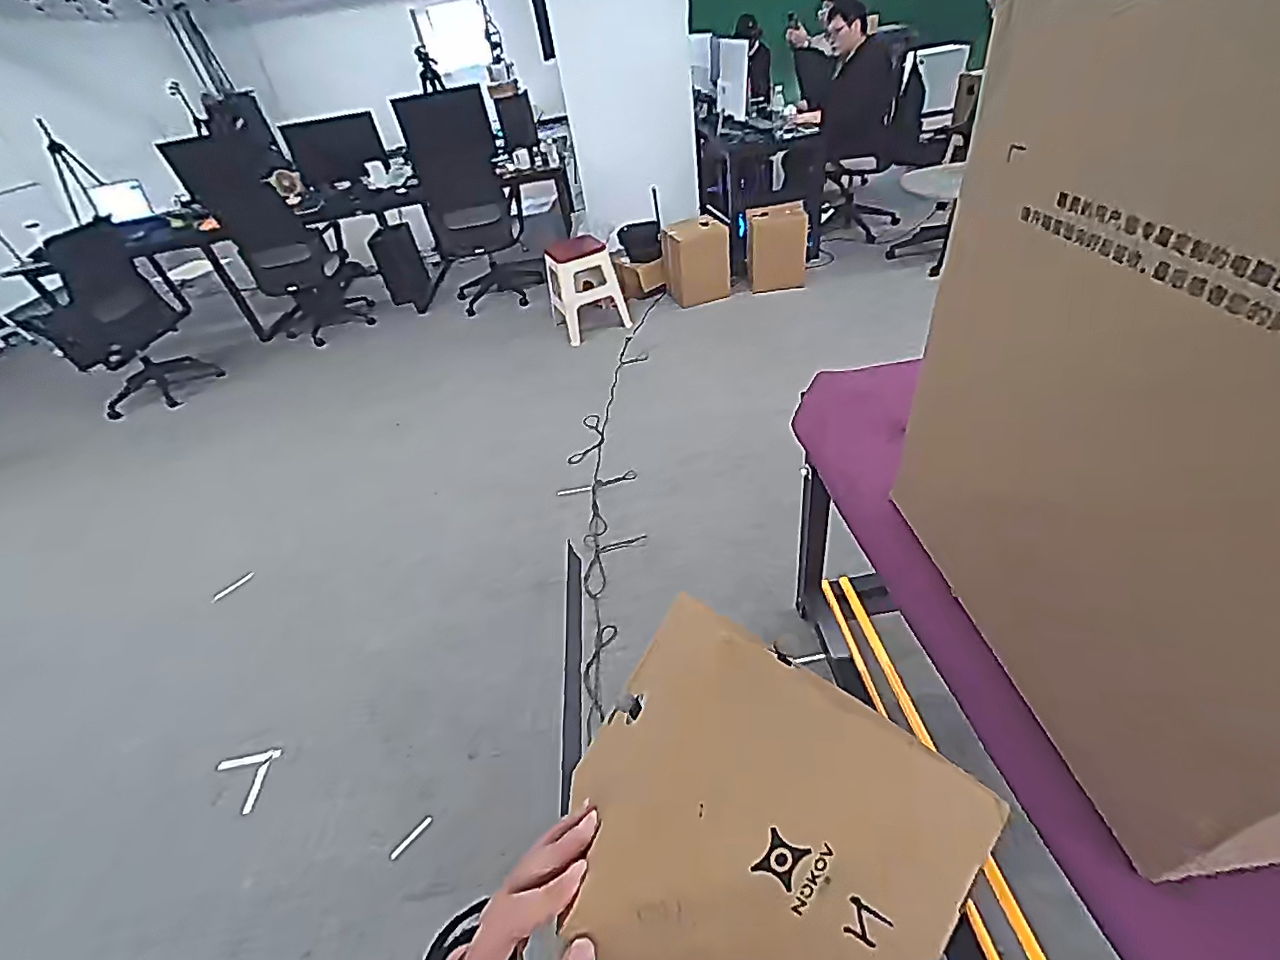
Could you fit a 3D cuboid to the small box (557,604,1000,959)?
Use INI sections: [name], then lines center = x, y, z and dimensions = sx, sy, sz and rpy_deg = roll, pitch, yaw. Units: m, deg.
[small box]
center = 0.067, 0.196, 0.350
dimensions = 0.179, 0.176, 0.168
rpy_deg = 32, 85, -2
